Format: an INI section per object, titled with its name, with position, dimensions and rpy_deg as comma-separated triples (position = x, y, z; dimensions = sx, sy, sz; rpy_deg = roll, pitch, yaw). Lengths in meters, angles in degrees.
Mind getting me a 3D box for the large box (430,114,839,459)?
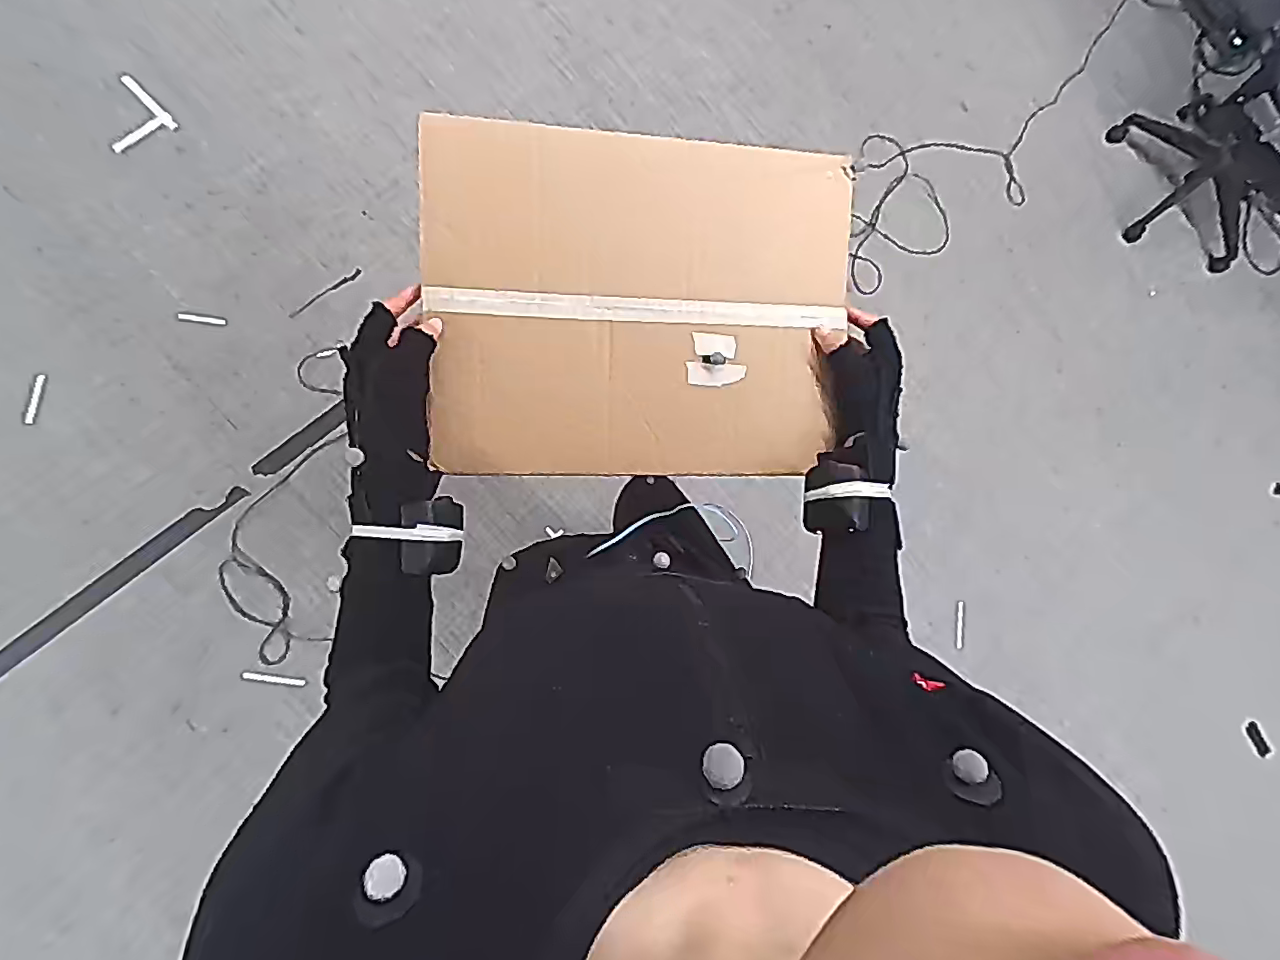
[large box]
position = -0.021, -0.192, 0.675
dimensions = 0.408, 0.320, 0.320
rpy_deg = 0, 97, -10
